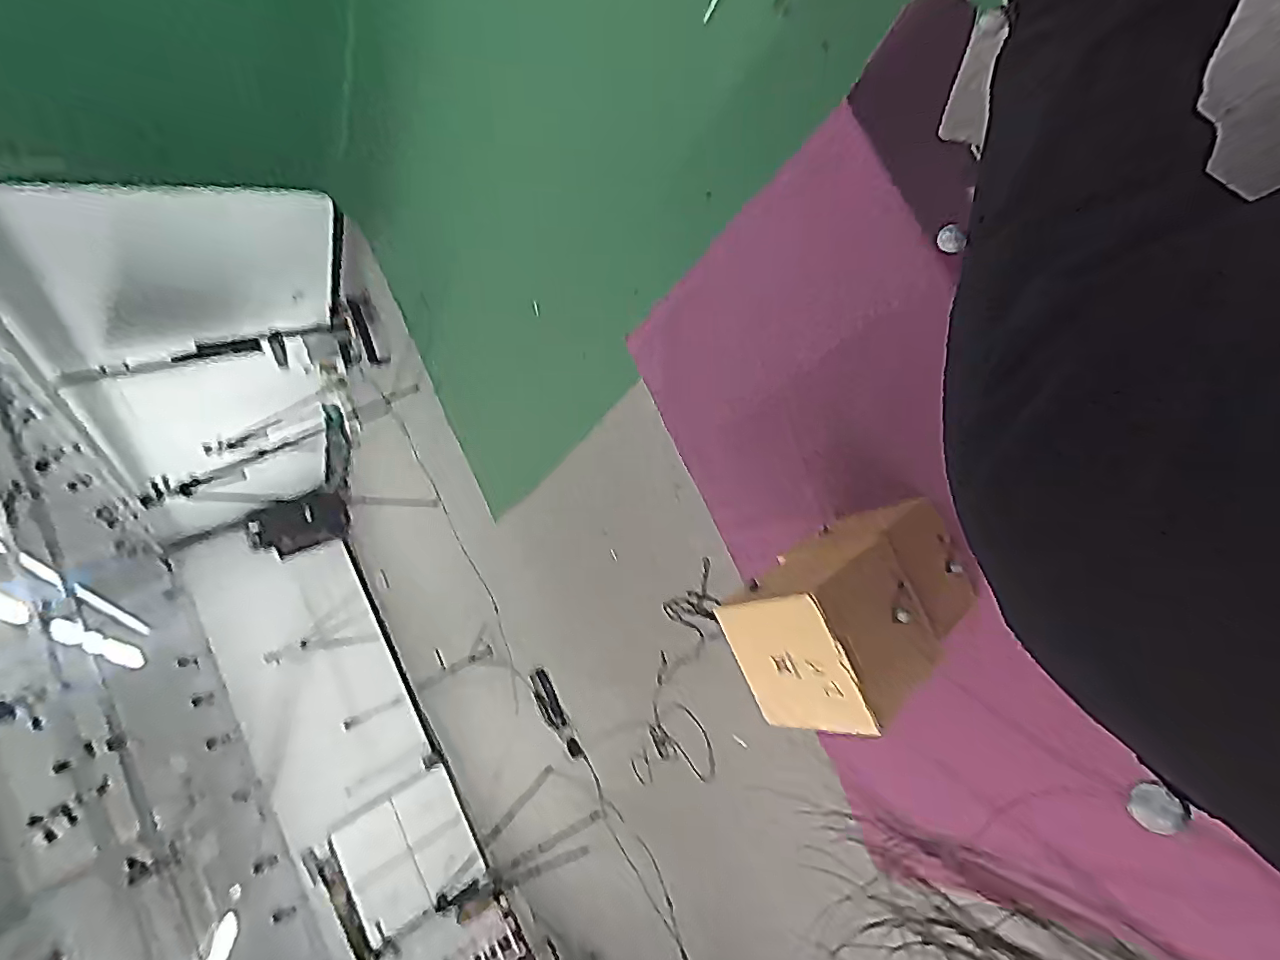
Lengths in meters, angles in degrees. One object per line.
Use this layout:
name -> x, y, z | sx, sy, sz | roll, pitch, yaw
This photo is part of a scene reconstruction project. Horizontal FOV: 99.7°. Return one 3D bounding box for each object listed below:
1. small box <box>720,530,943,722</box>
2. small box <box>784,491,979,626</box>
small box -> 0.242, 0.182, 0.692 | 0.179, 0.176, 0.168 | -30, 84, 54
small box -> 0.355, 0.132, 0.801 | 0.179, 0.176, 0.168 | -28, 86, 53
